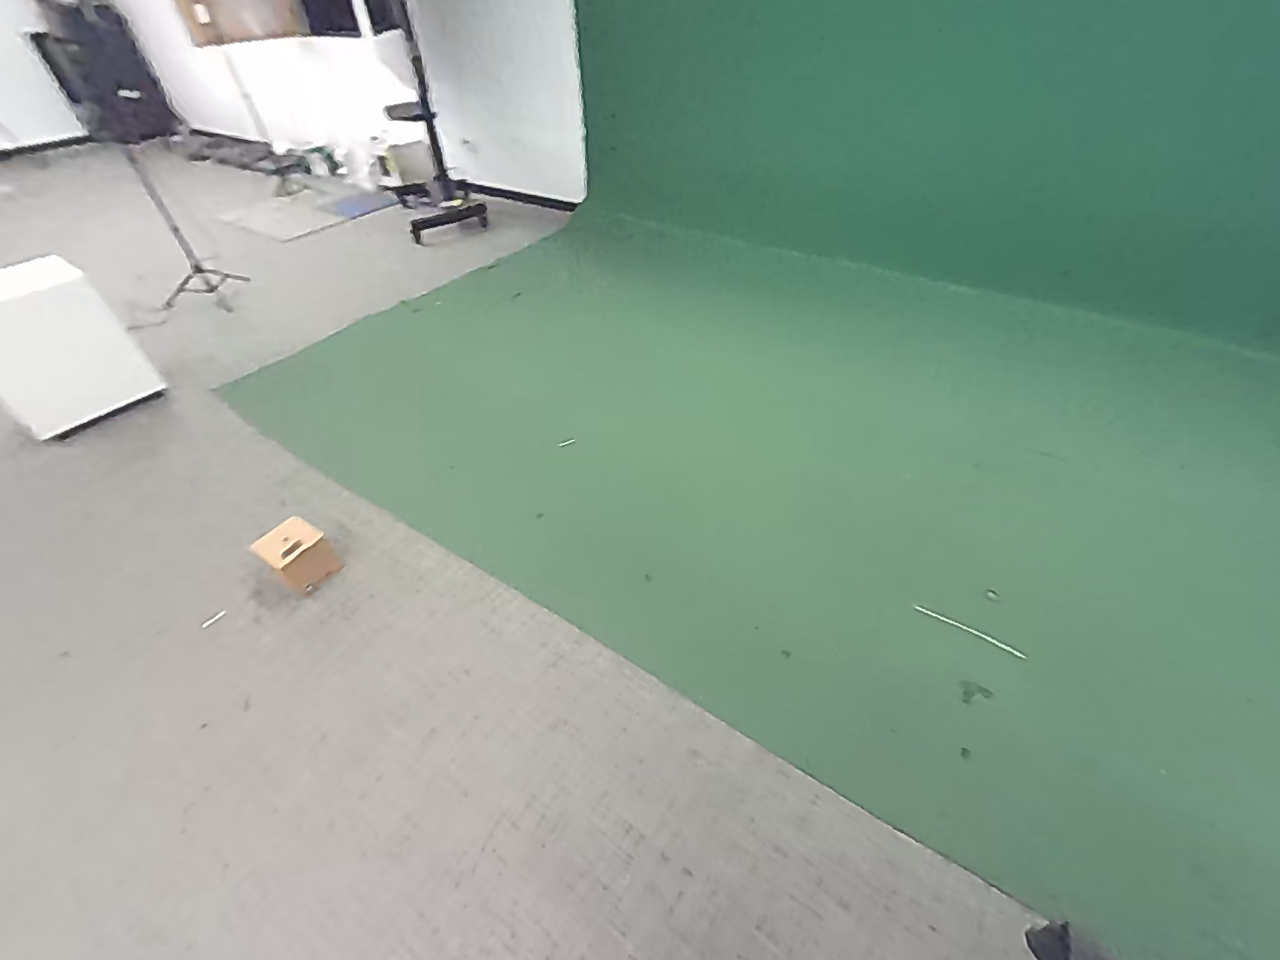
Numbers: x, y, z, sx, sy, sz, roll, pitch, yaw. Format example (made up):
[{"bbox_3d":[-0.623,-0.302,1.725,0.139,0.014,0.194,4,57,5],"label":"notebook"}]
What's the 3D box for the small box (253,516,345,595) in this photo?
[{"bbox_3d":[-1.138,0.259,1.818,0.179,0.176,0.168,23,48,24],"label":"small box"}]
